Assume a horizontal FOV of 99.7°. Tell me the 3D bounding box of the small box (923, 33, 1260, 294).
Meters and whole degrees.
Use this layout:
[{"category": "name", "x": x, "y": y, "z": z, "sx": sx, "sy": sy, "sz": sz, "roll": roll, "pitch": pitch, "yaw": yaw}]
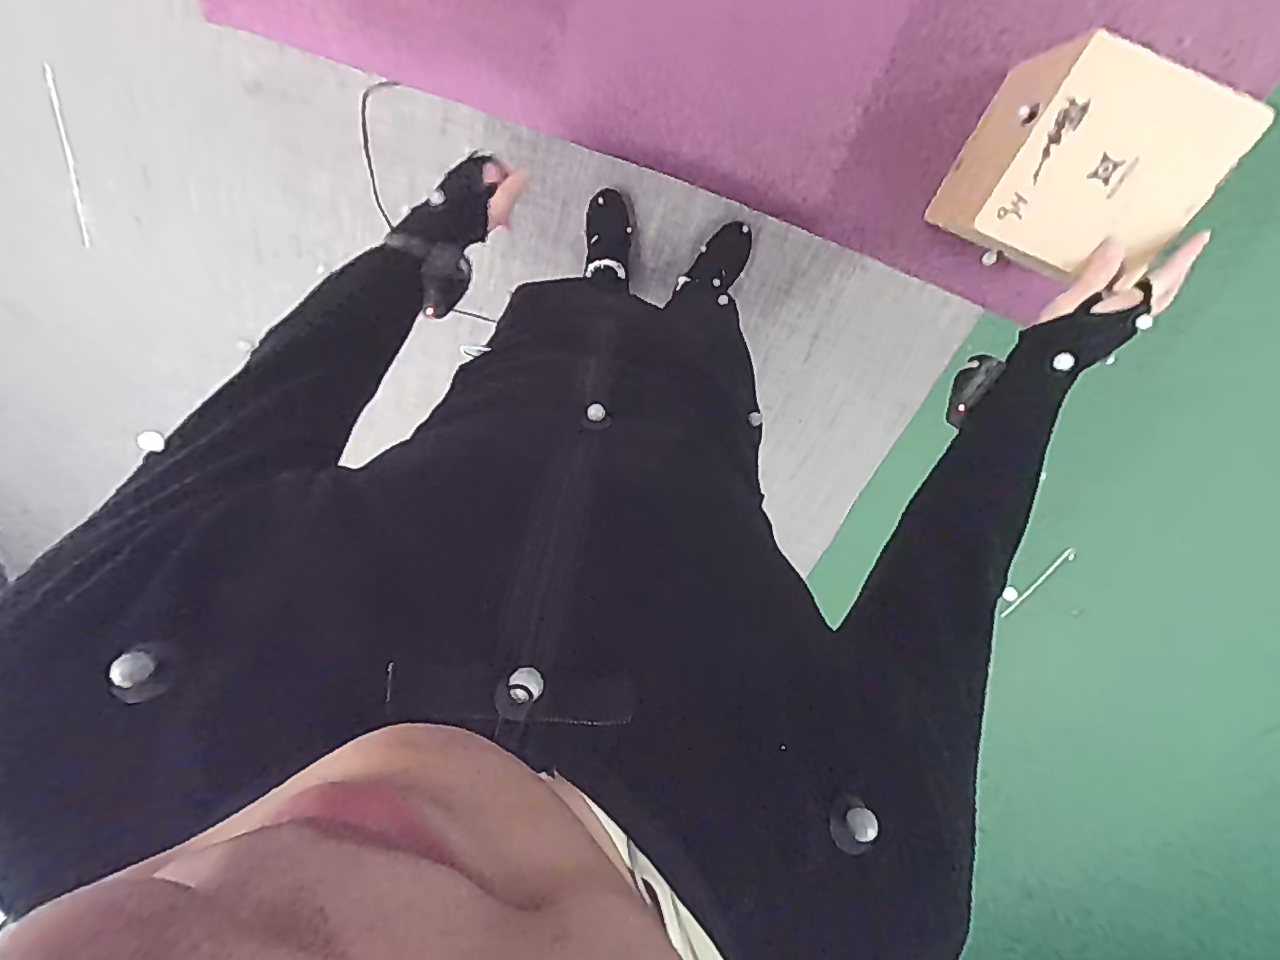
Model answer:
[{"category": "small box", "x": 0.443, "y": -0.323, "z": 0.571, "sx": 0.179, "sy": 0.176, "sz": 0.168, "roll": 23, "pitch": 120, "yaw": -4}]
